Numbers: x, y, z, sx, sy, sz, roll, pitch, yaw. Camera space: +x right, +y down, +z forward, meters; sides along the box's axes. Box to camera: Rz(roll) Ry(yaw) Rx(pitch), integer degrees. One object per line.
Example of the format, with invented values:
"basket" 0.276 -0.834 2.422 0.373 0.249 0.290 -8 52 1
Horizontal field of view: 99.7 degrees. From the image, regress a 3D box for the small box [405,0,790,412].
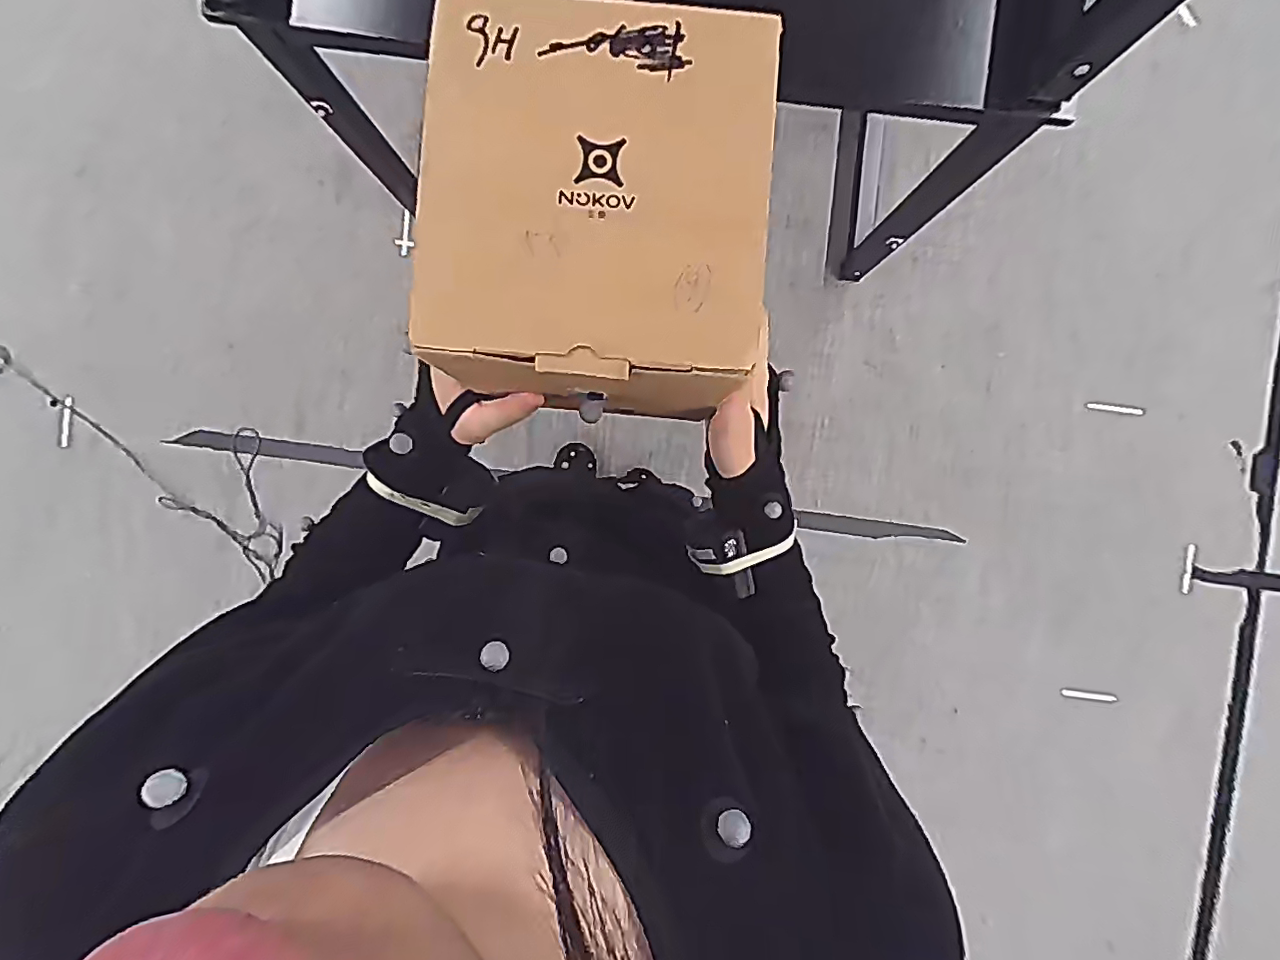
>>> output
"small box" -0.022 -0.138 0.325 0.168 0.176 0.179 4 91 -3
